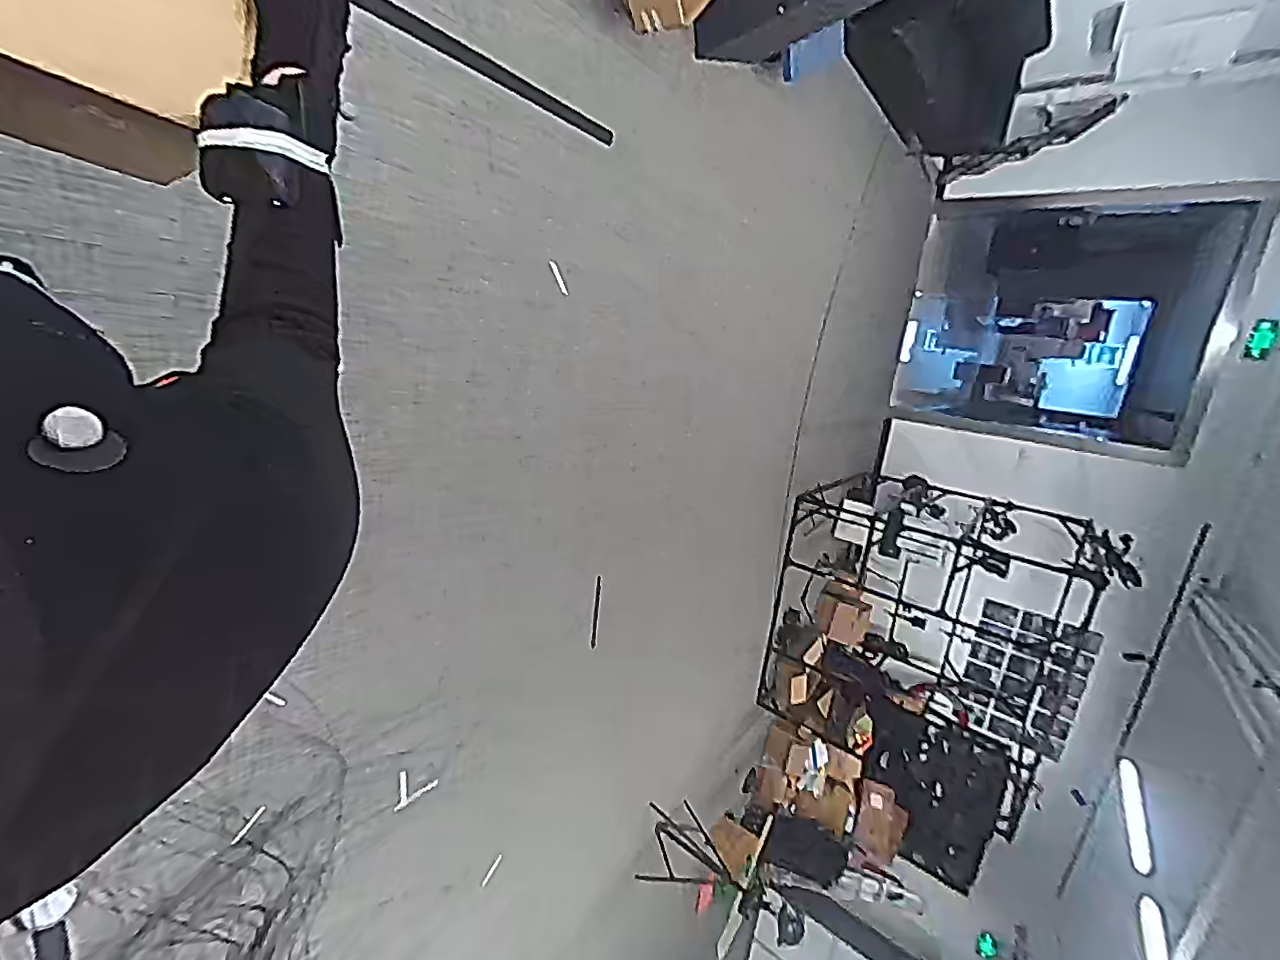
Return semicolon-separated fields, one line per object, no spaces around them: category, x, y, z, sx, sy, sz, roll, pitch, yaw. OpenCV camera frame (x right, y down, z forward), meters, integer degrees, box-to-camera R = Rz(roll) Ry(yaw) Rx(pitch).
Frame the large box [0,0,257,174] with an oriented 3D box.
large box;-0.514;-0.442;0.330;0.408;0.320;0.320;-1;106;-51
